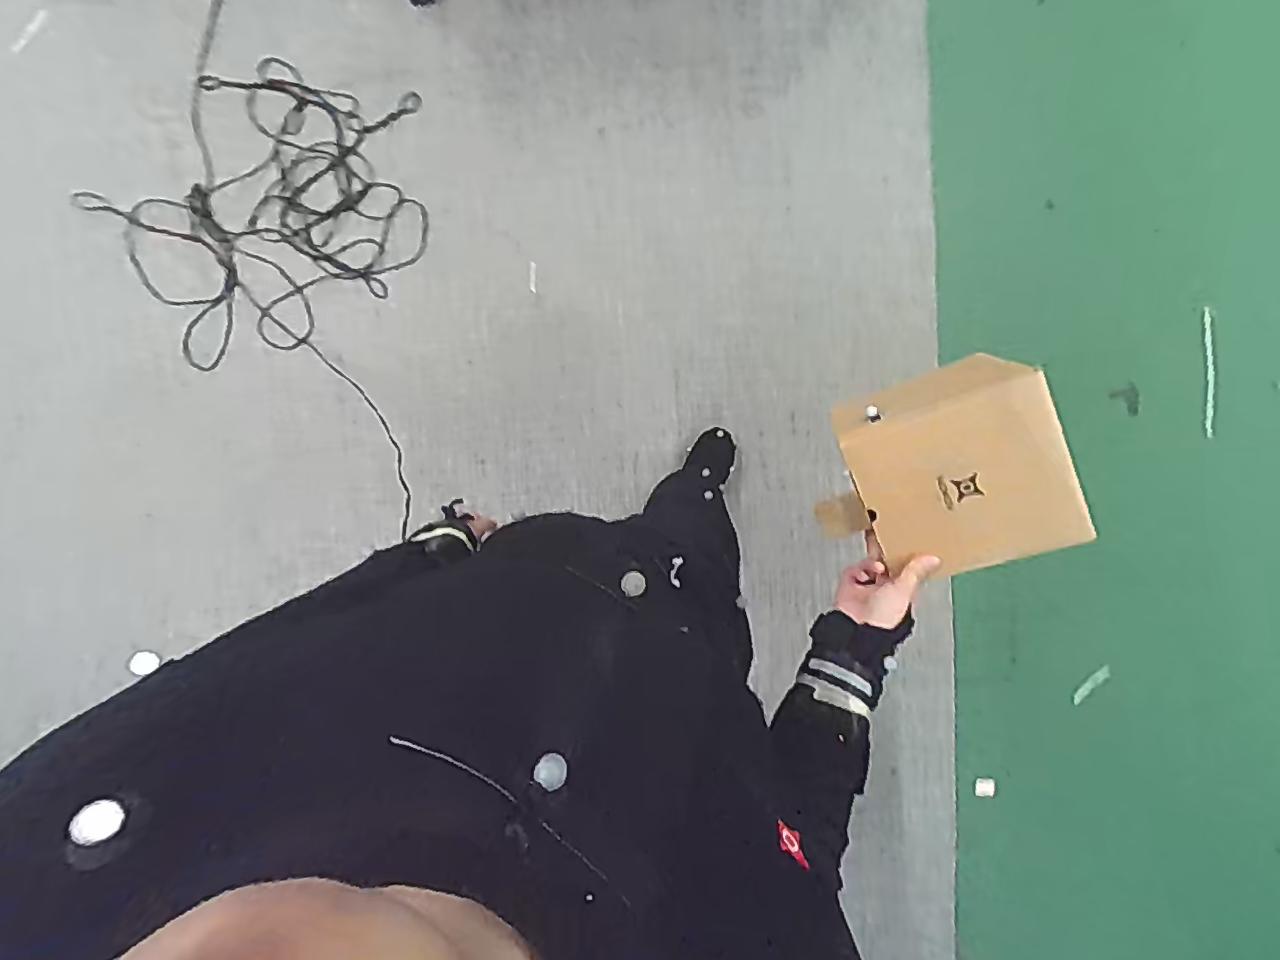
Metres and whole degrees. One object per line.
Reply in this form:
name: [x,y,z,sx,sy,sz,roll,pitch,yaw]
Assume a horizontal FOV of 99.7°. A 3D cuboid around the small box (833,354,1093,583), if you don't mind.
small box: [0.320,-0.021,0.574,0.179,0.176,0.168,-22,101,23]
